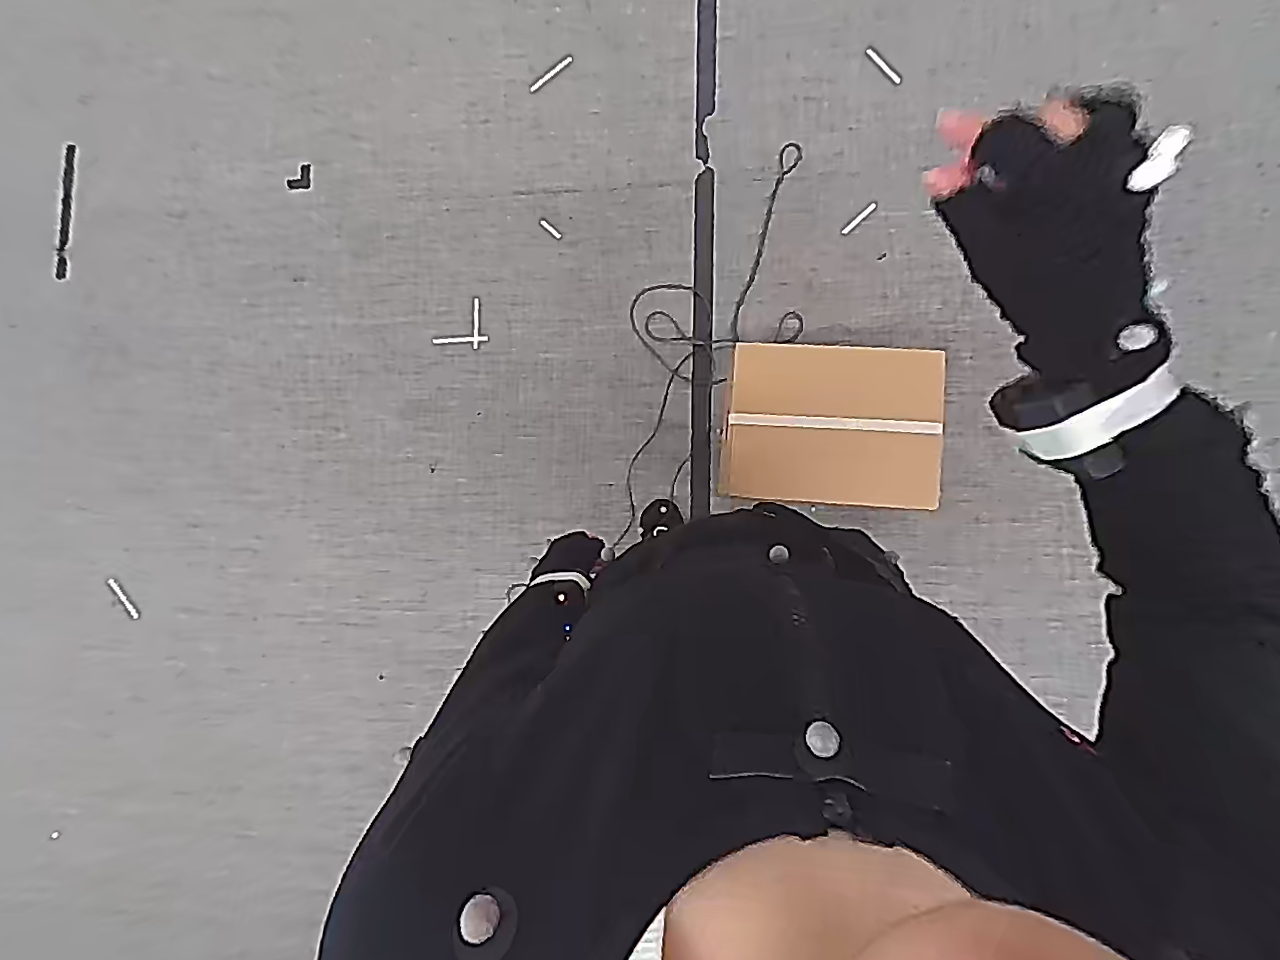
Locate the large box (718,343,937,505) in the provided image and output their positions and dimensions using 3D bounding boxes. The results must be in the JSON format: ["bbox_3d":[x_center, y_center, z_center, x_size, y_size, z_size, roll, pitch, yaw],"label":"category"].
[{"bbox_3d":[0.389,-0.107,1.219,0.408,0.320,0.320,4,89,6],"label":"large box"}]
